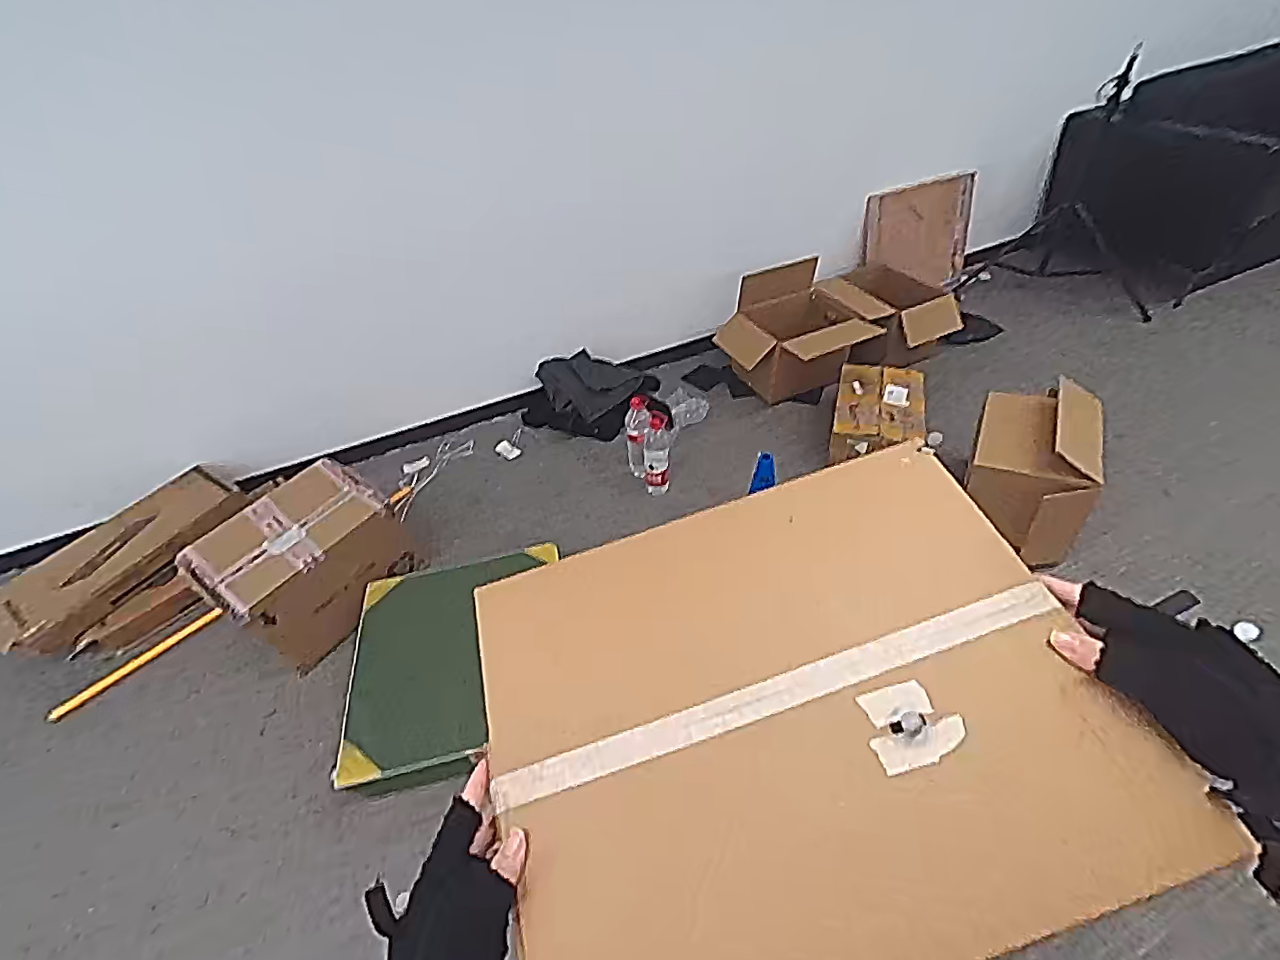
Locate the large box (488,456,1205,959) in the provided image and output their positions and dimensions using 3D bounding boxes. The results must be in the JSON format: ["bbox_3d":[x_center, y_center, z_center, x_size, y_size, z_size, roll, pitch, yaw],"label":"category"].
[{"bbox_3d":[0.119,0.241,0.506,0.408,0.320,0.320,-18,54,-3],"label":"large box"}]
